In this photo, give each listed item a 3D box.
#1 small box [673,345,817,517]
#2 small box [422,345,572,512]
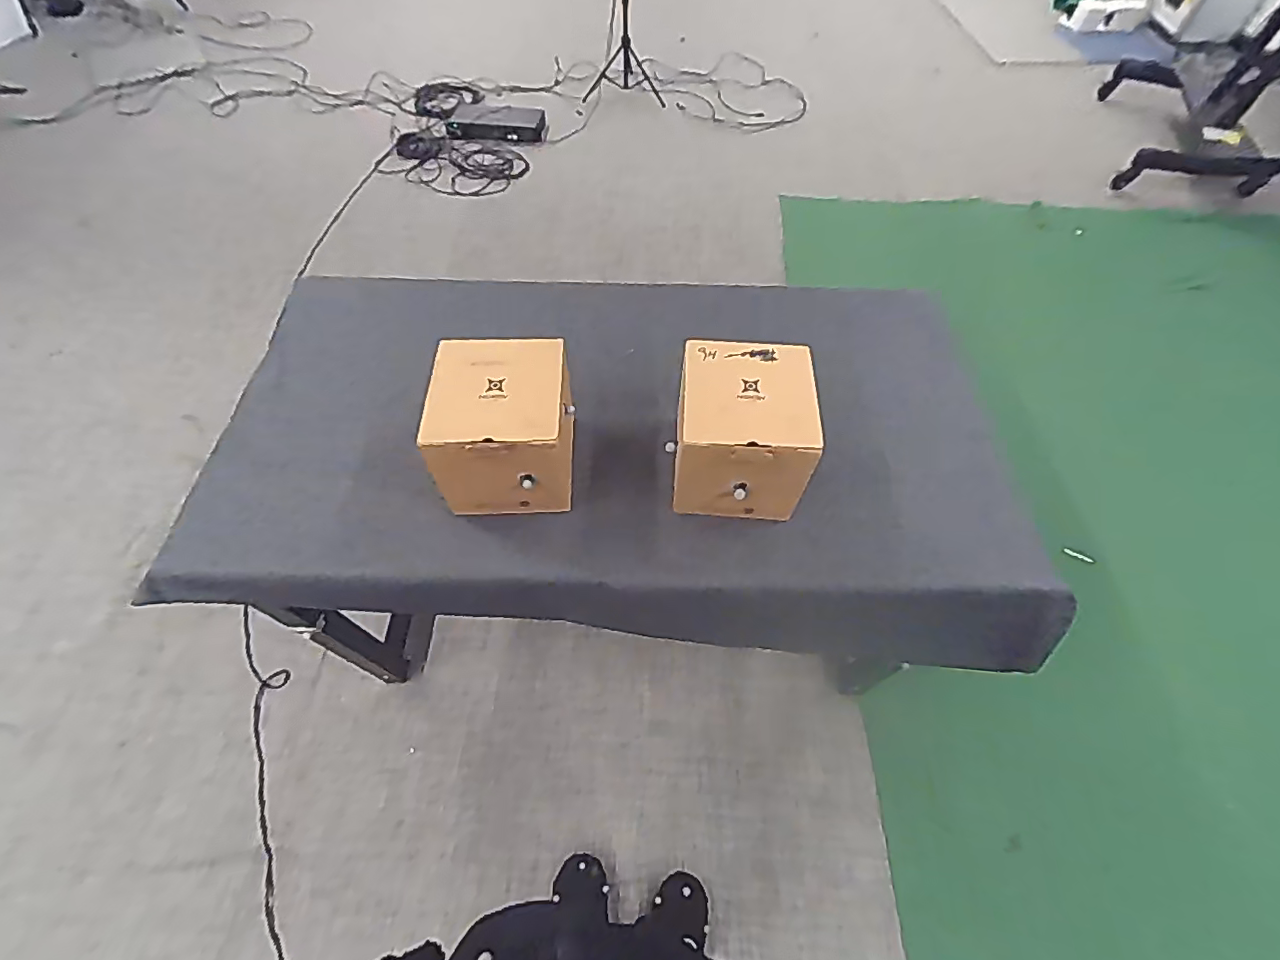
[{"bbox_3d":[0.135,-0.062,0.751,0.168,0.176,0.179,3,57,1],"label":"small box"},{"bbox_3d":[-0.182,-0.065,0.750,0.168,0.176,0.179,-1,55,-4],"label":"small box"}]
